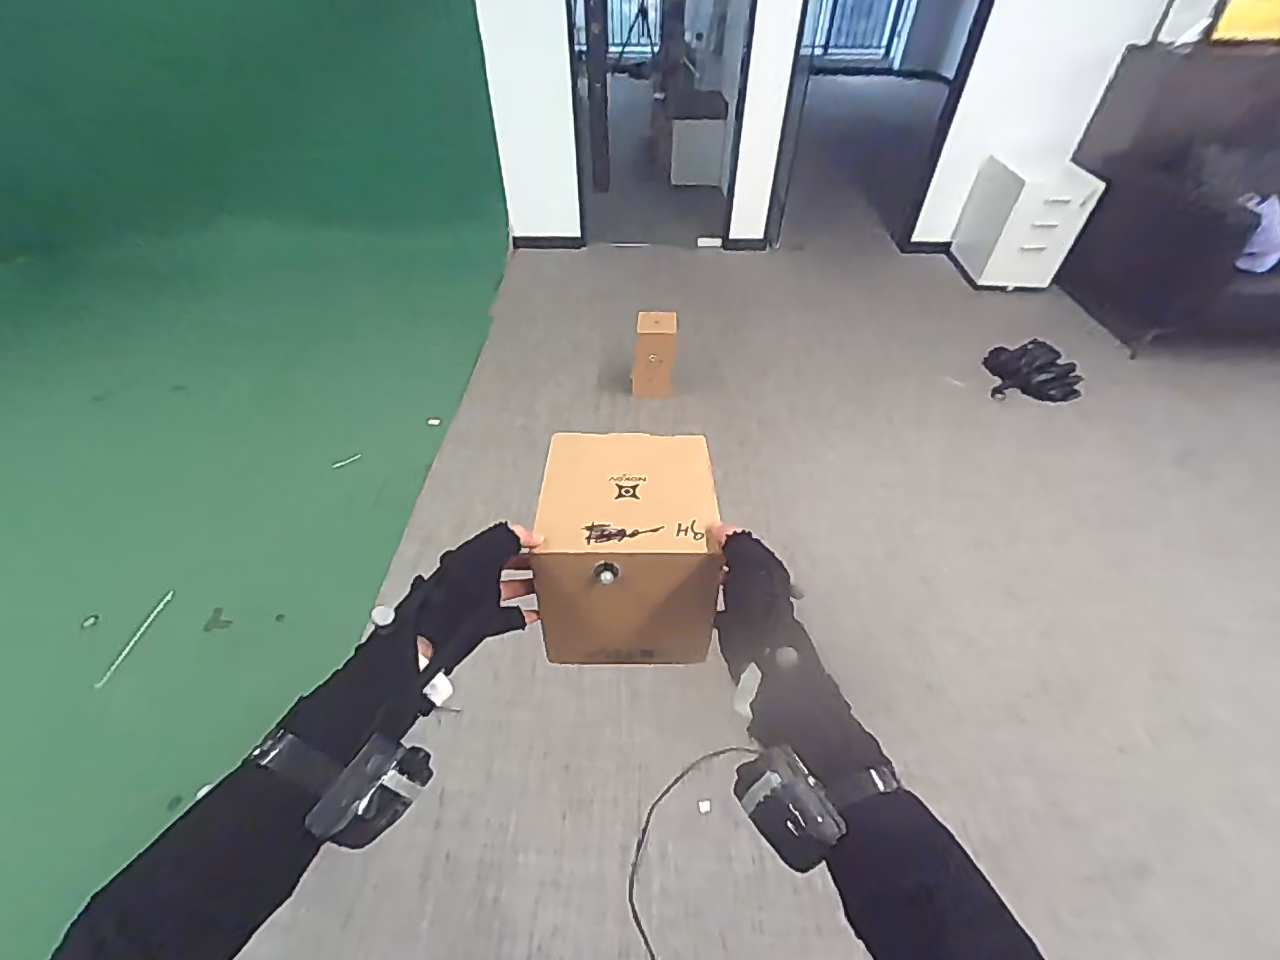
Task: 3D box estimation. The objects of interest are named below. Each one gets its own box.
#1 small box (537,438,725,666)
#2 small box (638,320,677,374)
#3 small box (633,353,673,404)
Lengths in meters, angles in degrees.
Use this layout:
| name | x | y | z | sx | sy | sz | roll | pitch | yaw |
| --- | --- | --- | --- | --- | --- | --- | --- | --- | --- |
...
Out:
| name | x | y | z | sx | sy | sz | roll | pitch | yaw |
| --- | --- | --- | --- | --- | --- | --- | --- | --- | --- |
| small box | -0.009 | 0.073 | 0.575 | 0.168 | 0.176 | 0.179 | 0 | 38 | 0 |
| small box | 0.075 | -0.581 | 2.360 | 0.168 | 0.176 | 0.179 | 1 | 45 | 2 |
| small box | 0.059 | -0.460 | 2.466 | 0.179 | 0.176 | 0.168 | 2 | 44 | 3 |
